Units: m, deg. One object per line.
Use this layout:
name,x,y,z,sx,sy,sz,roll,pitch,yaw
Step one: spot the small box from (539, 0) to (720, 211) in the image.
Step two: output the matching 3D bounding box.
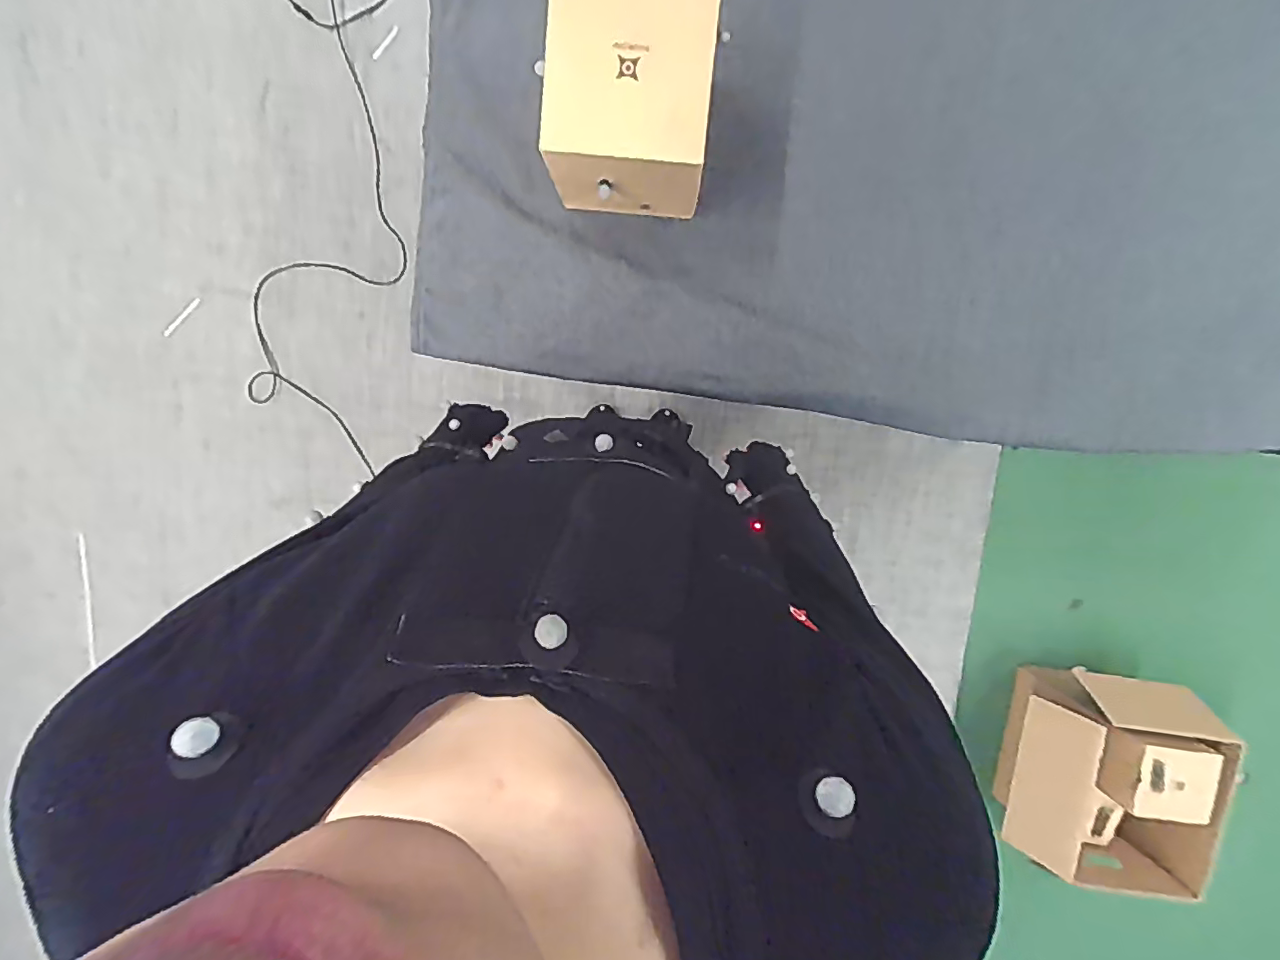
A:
small box,-0.008,-0.418,0.596,0.168,0.176,0.179,5,98,1
